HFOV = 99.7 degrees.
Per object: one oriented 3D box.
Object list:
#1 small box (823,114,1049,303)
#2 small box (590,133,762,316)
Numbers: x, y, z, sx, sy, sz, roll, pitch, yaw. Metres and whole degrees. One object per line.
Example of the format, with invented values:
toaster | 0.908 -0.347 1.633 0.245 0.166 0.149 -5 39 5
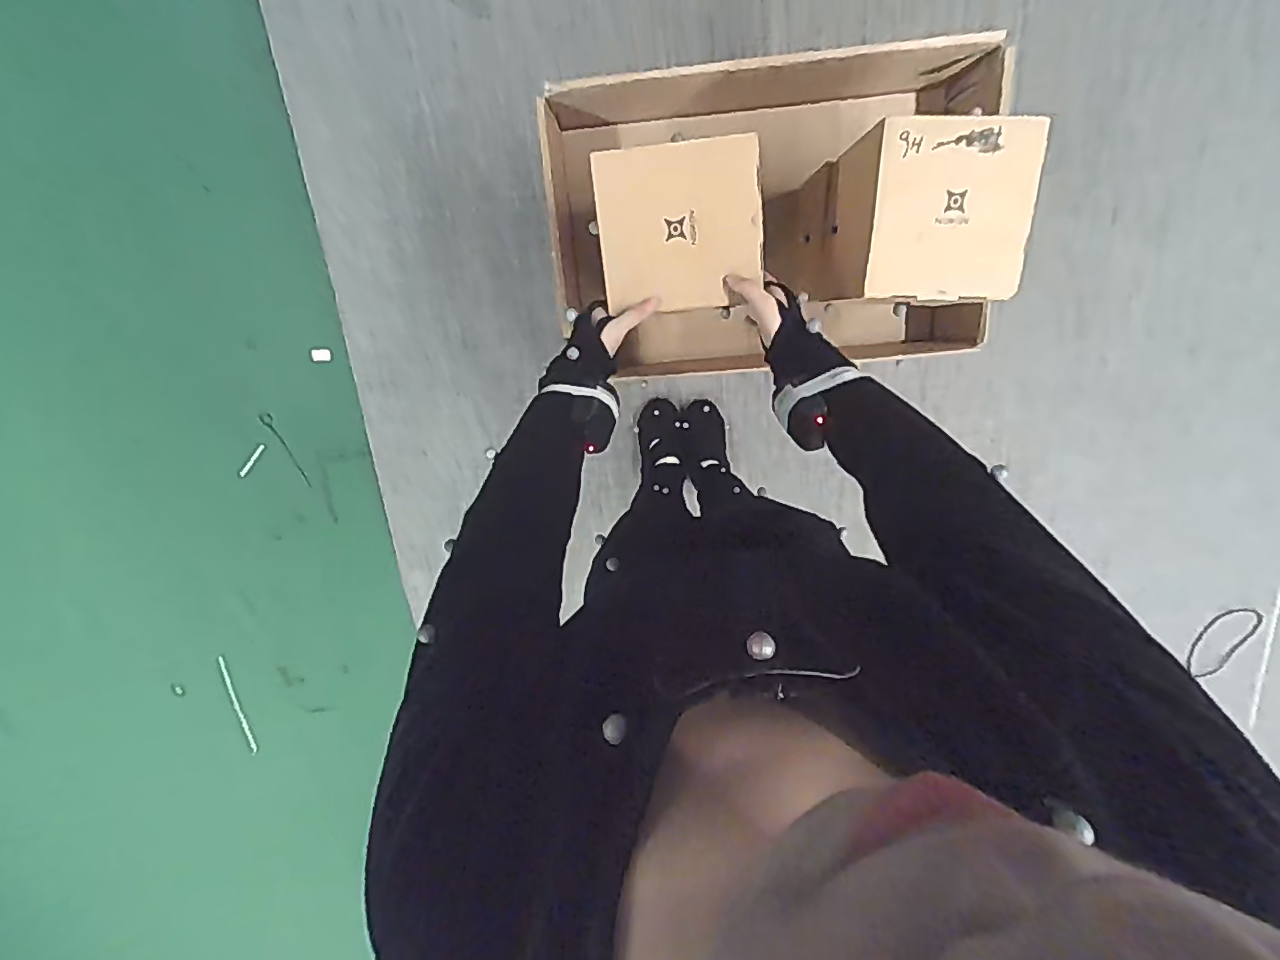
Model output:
small box | 0.325 -0.305 0.639 0.168 0.176 0.179 3 108 2
small box | 0.044 -0.293 0.656 0.179 0.176 0.168 -5 107 3
